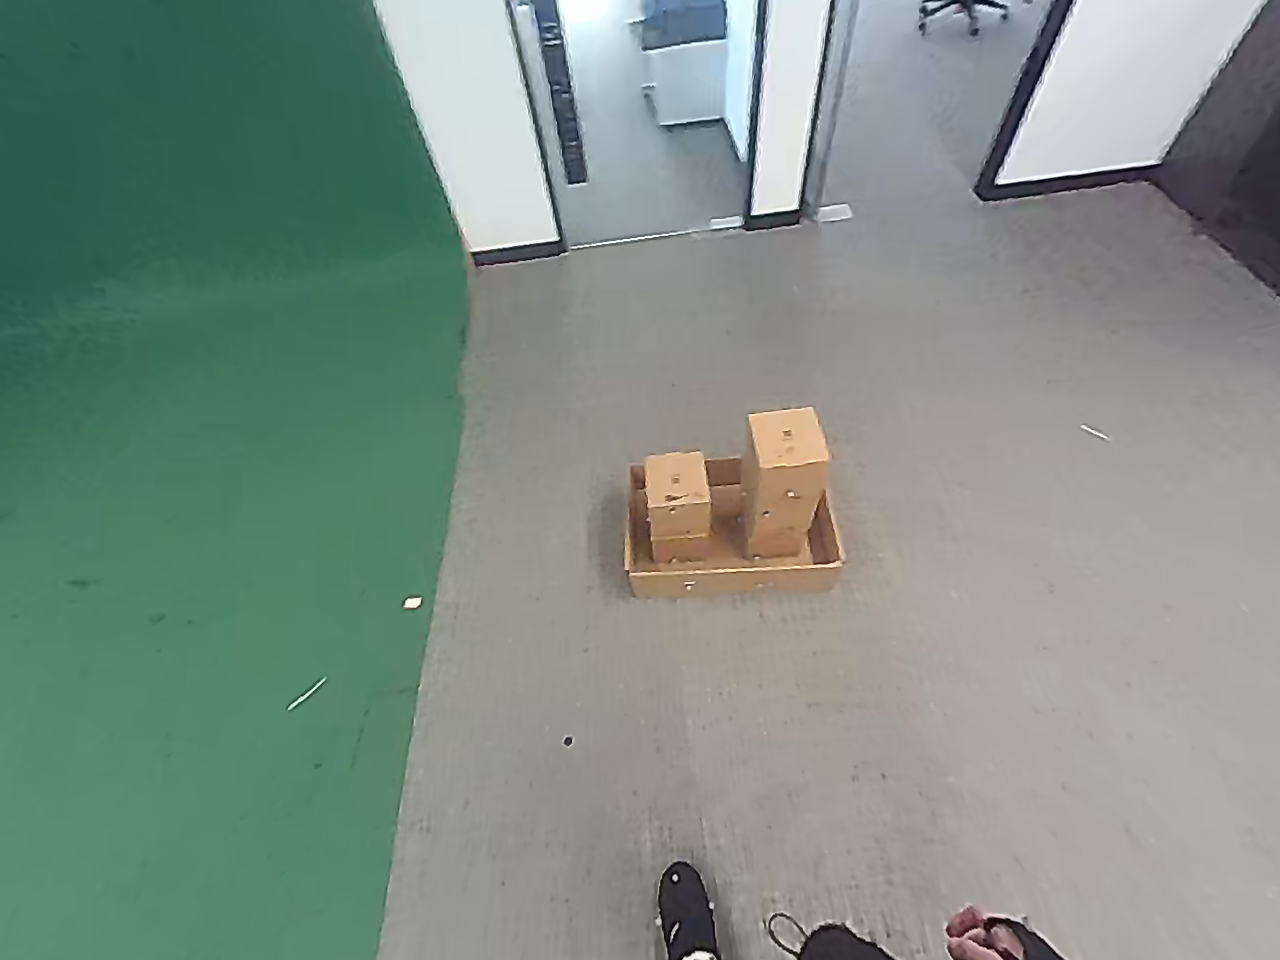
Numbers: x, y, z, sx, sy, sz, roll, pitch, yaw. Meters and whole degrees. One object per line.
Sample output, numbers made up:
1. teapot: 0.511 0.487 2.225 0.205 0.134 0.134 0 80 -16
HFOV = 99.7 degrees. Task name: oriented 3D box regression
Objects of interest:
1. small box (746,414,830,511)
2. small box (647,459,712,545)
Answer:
1. small box: 0.367 -0.043 1.373 0.168 0.176 0.179 -7 53 3
2. small box: 0.110 0.064 1.533 0.168 0.176 0.179 -6 52 3
